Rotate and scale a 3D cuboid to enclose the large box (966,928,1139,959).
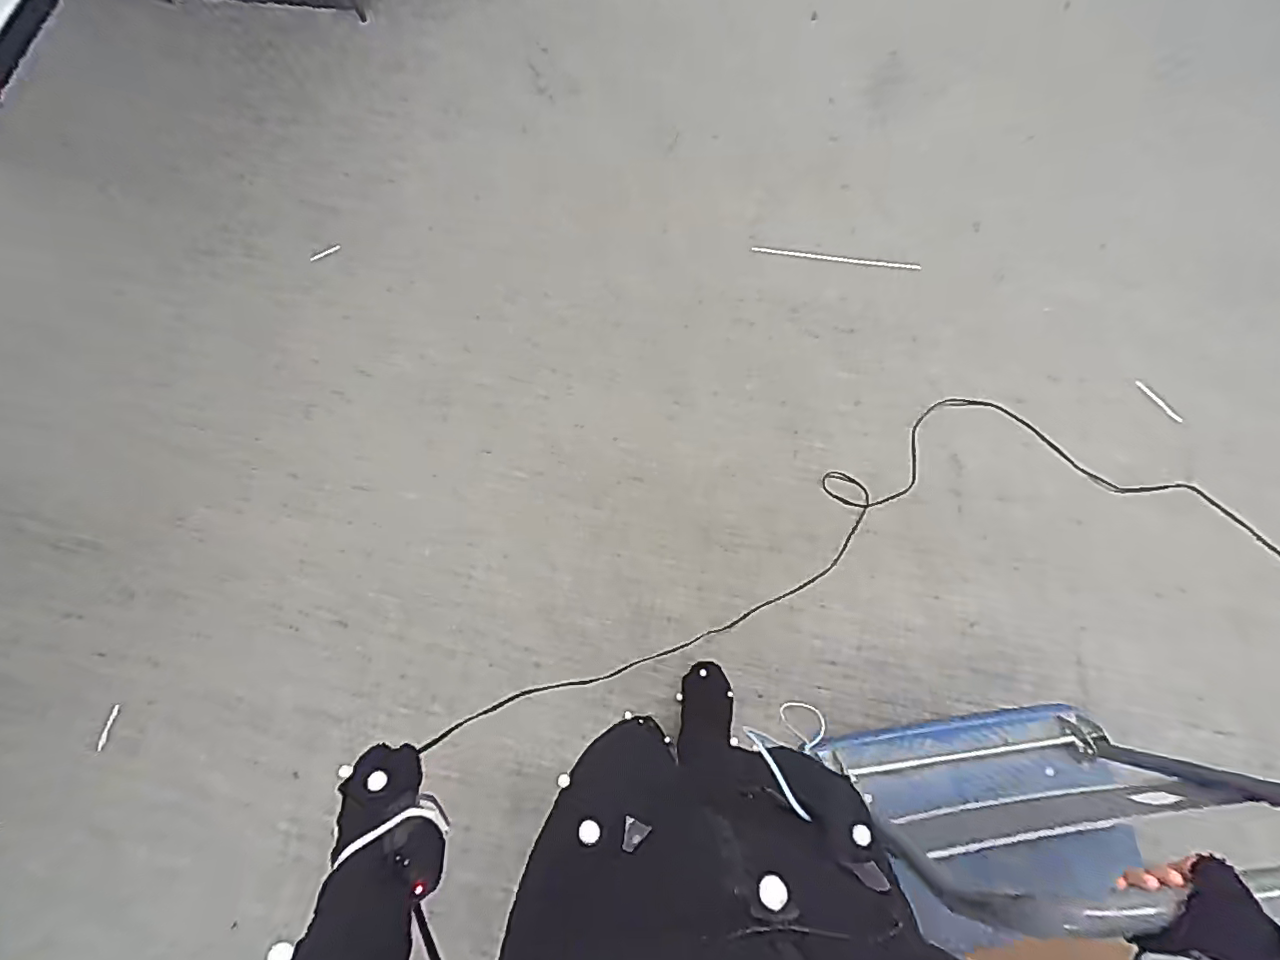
[{"bbox_3d":[0.640,0.939,0.778,0.408,0.320,0.320,-13,74,-1],"label":"large box"}]
